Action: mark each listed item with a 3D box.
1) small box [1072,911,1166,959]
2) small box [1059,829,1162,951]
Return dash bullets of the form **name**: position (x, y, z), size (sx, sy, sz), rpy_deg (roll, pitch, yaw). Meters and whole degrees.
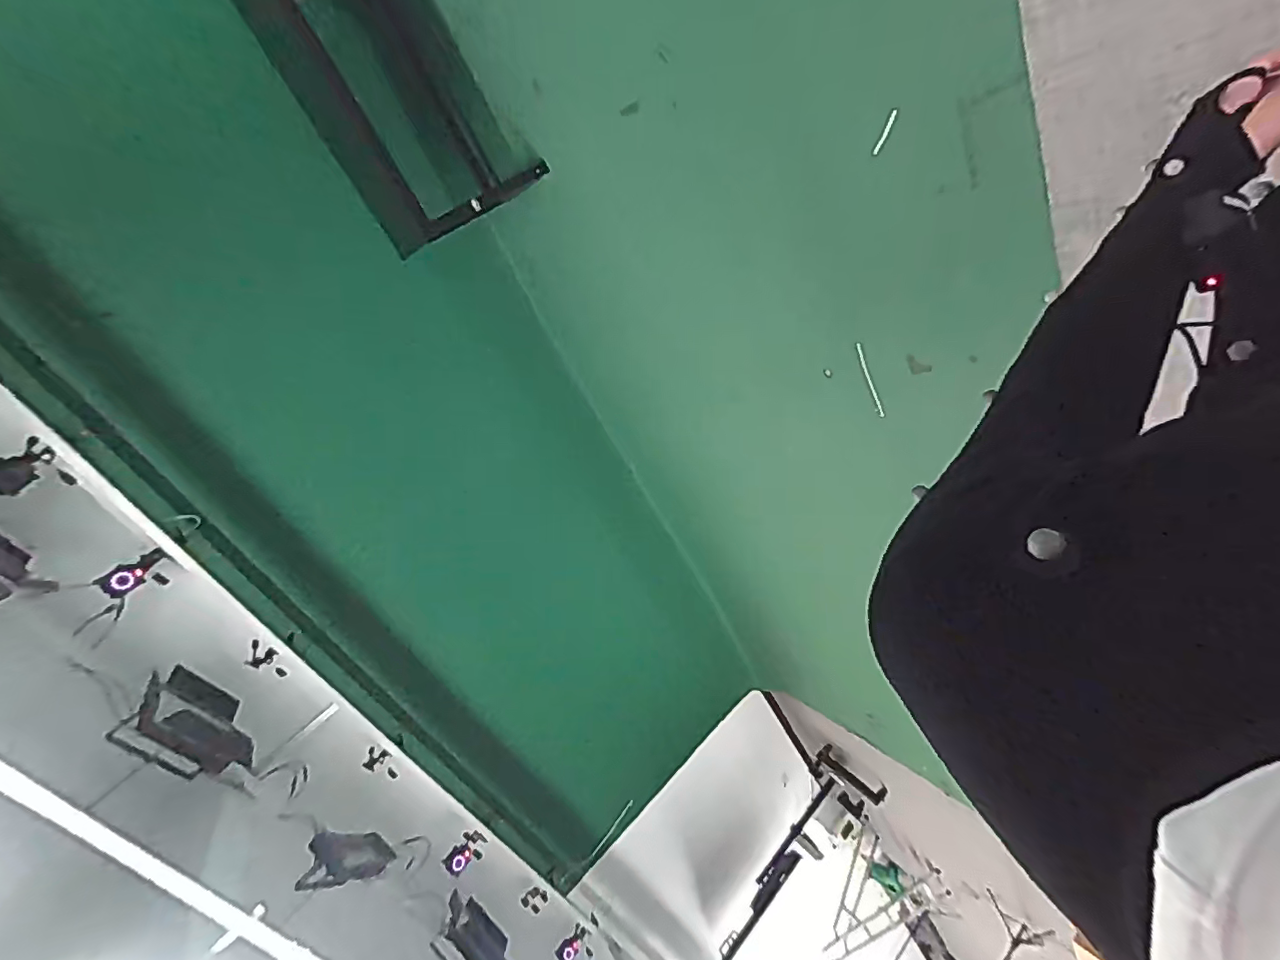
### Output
- **small box**: position (1.437, 1.349, 1.619), size (0.168, 0.176, 0.179), rpy_deg (13, 140, 56)
- **small box**: position (1.293, 1.116, 1.482), size (0.168, 0.176, 0.179), rpy_deg (10, 137, 57)
